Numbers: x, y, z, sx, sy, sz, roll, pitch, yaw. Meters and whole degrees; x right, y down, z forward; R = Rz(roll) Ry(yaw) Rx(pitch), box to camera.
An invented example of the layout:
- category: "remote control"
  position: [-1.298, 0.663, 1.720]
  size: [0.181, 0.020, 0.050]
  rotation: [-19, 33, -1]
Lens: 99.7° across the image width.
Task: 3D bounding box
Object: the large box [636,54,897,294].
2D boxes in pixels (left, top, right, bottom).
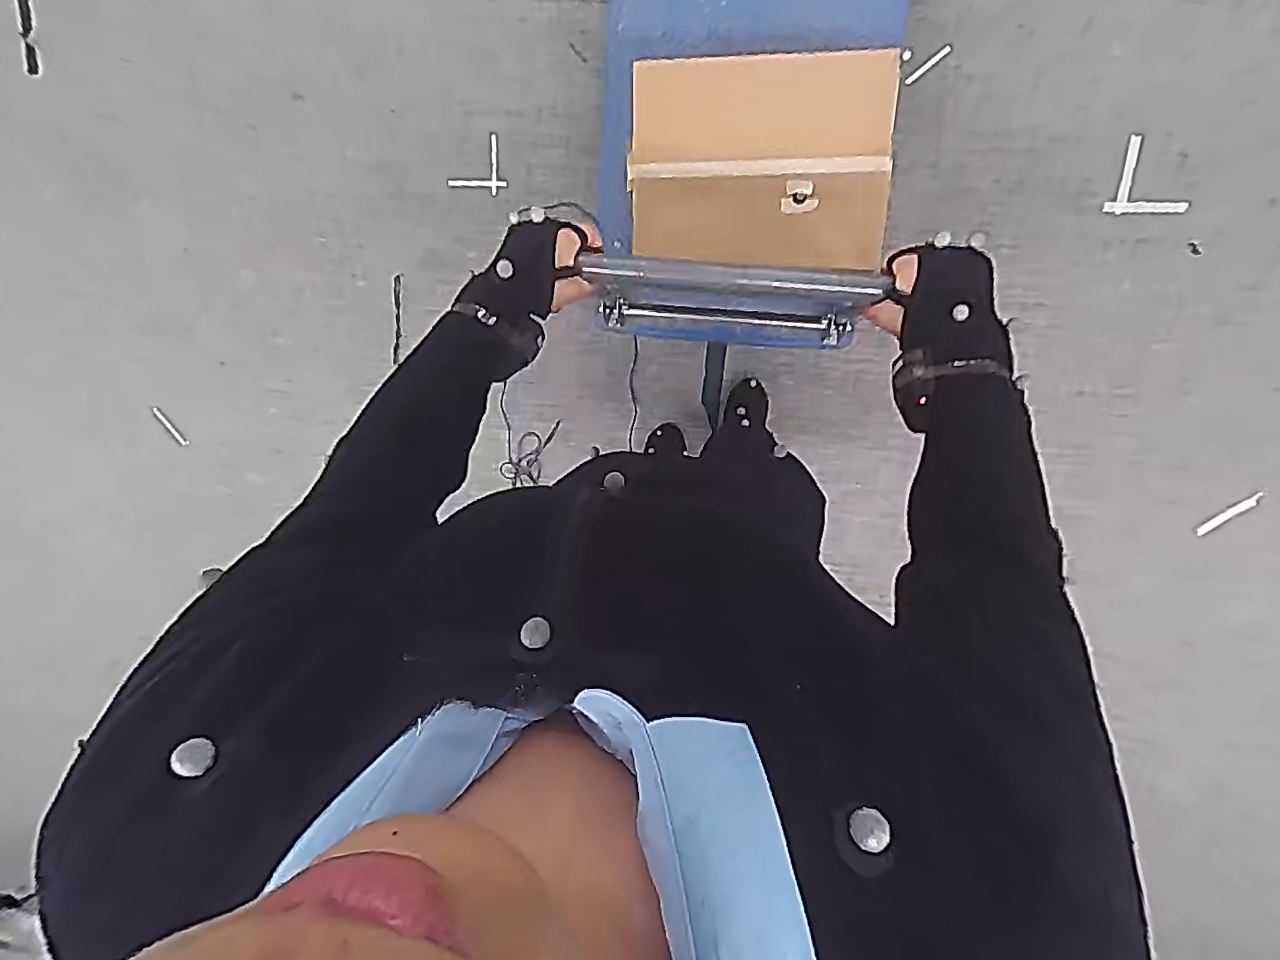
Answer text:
- category: "large box"
  position: [0.206, -0.531, 1.013]
  size: [0.408, 0.320, 0.320]
  rotation: [2, 104, 5]
